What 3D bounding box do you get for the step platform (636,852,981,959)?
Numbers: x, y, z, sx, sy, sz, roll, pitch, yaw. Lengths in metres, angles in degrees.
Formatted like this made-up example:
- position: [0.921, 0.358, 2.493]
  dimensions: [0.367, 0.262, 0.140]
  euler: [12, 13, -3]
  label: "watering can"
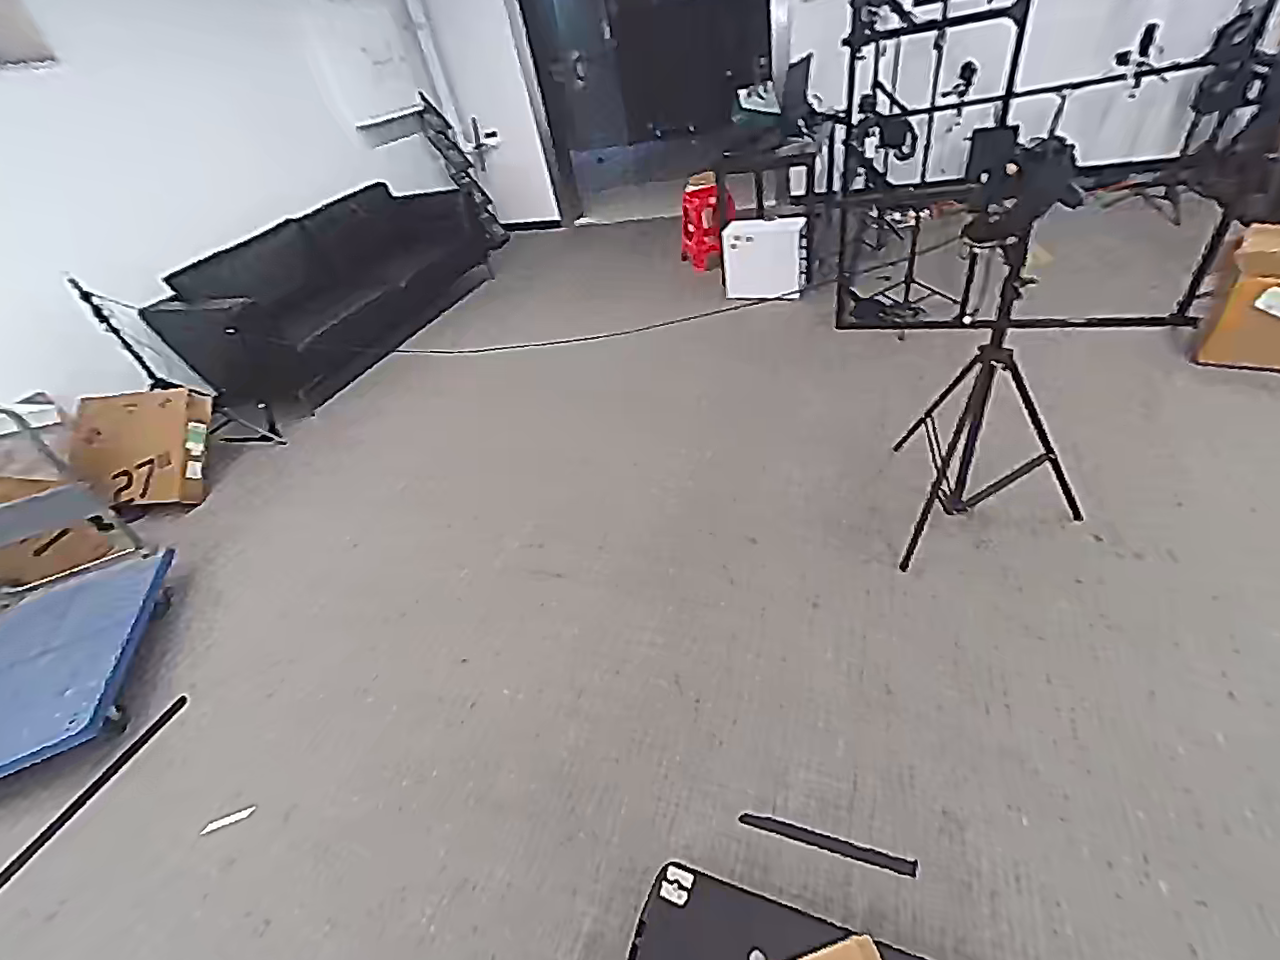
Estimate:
- position: [0.325, 0.900, 0.901]
  dimensions: [0.684, 0.204, 0.286]
  euler: [5, 42, 23]
  label: "step platform"
